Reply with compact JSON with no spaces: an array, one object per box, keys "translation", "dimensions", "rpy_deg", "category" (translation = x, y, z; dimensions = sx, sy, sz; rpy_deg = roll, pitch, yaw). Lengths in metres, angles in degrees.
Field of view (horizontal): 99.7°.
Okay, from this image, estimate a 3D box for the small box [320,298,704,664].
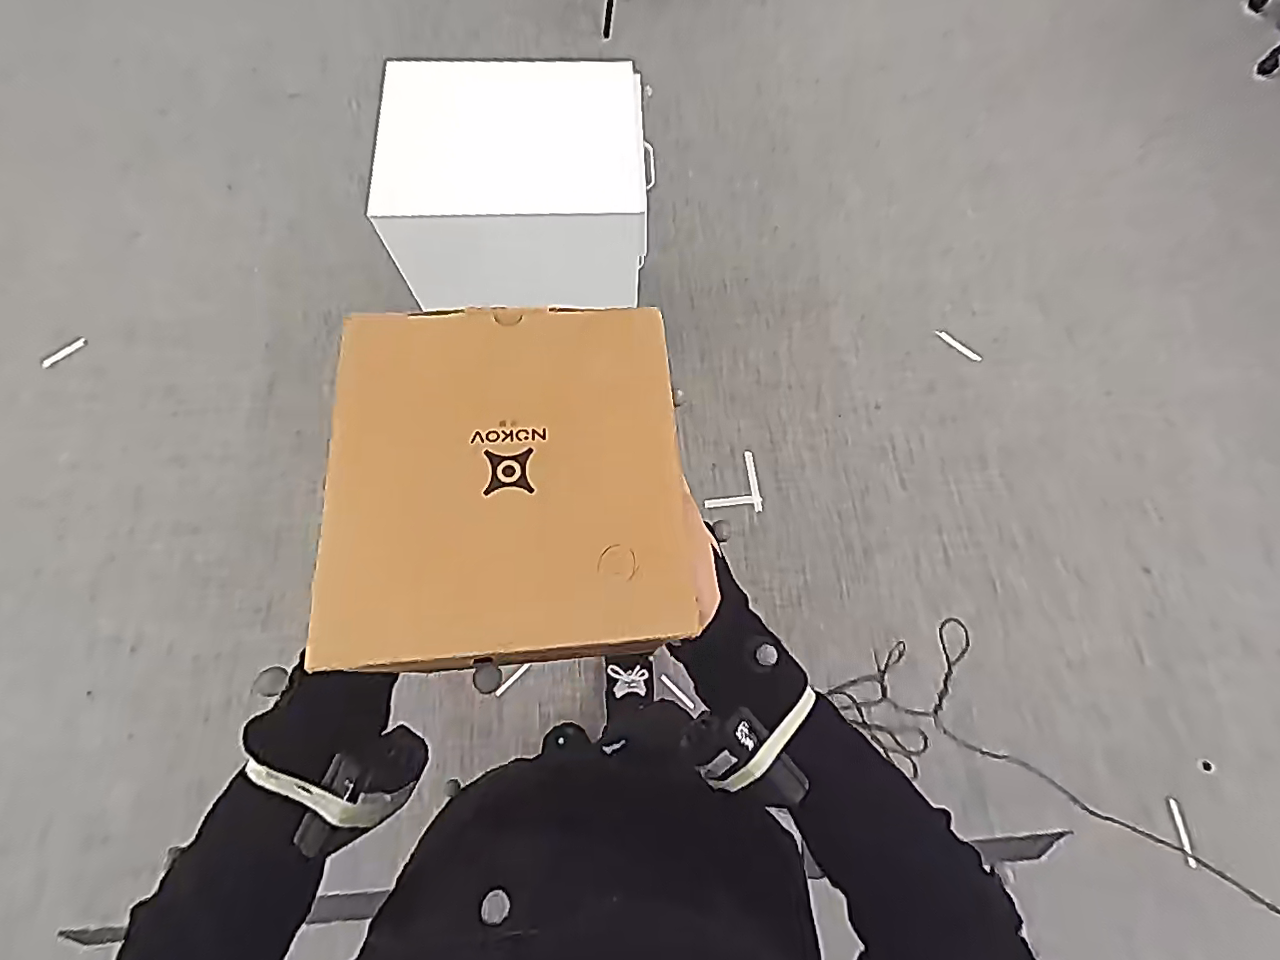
[{"translation":[-0.065,0.015,0.331],"dimensions":[0.168,0.176,0.179],"rpy_deg":[-4,69,-7],"category":"small box"}]
